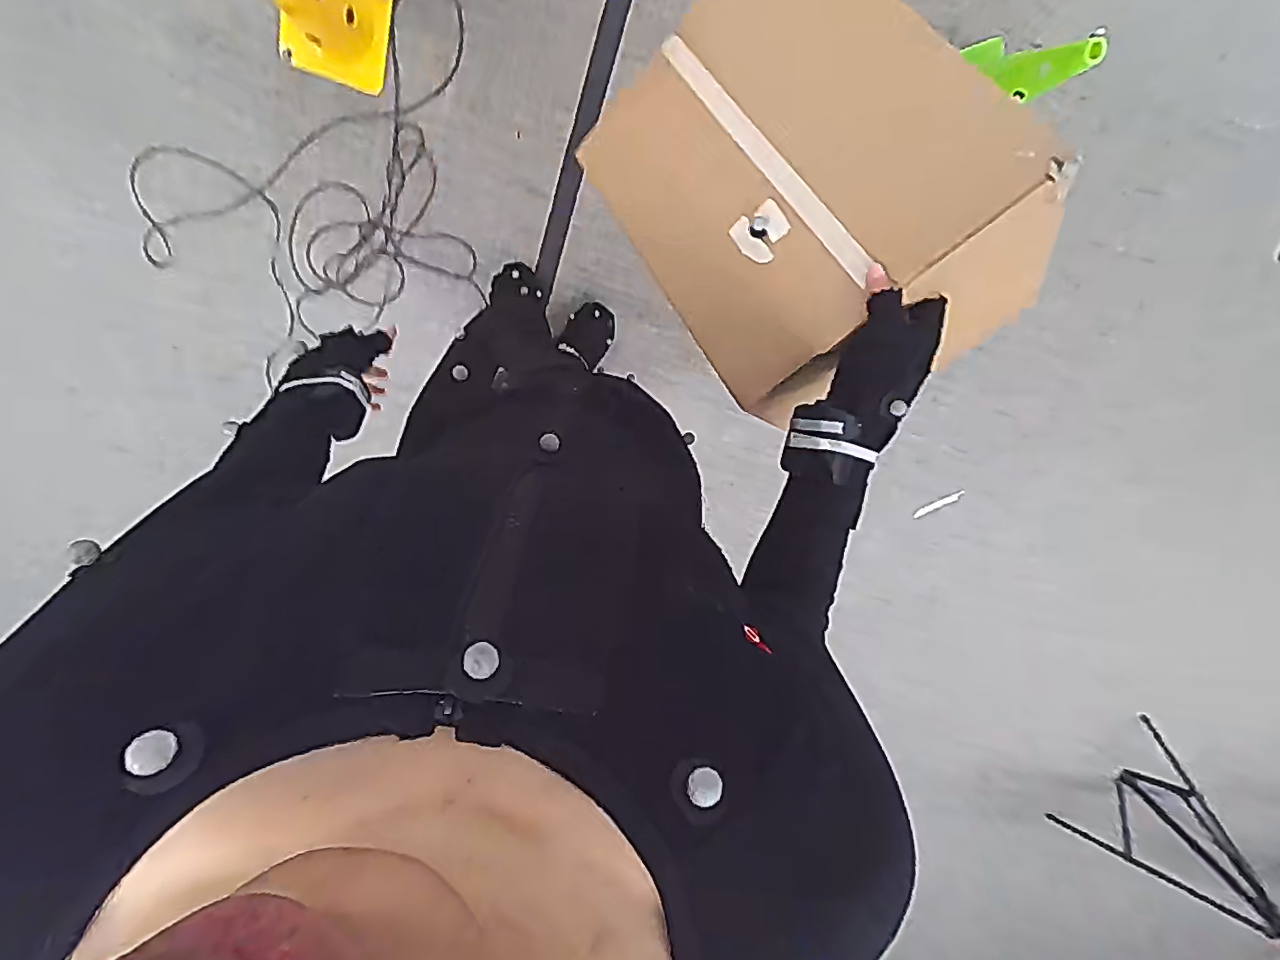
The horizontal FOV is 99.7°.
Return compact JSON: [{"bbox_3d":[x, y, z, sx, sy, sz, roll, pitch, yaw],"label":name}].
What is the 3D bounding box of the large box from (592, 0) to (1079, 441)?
[{"bbox_3d":[0.214,-0.310,0.666,0.320,0.408,0.320,-38,158,25],"label":"large box"}]
